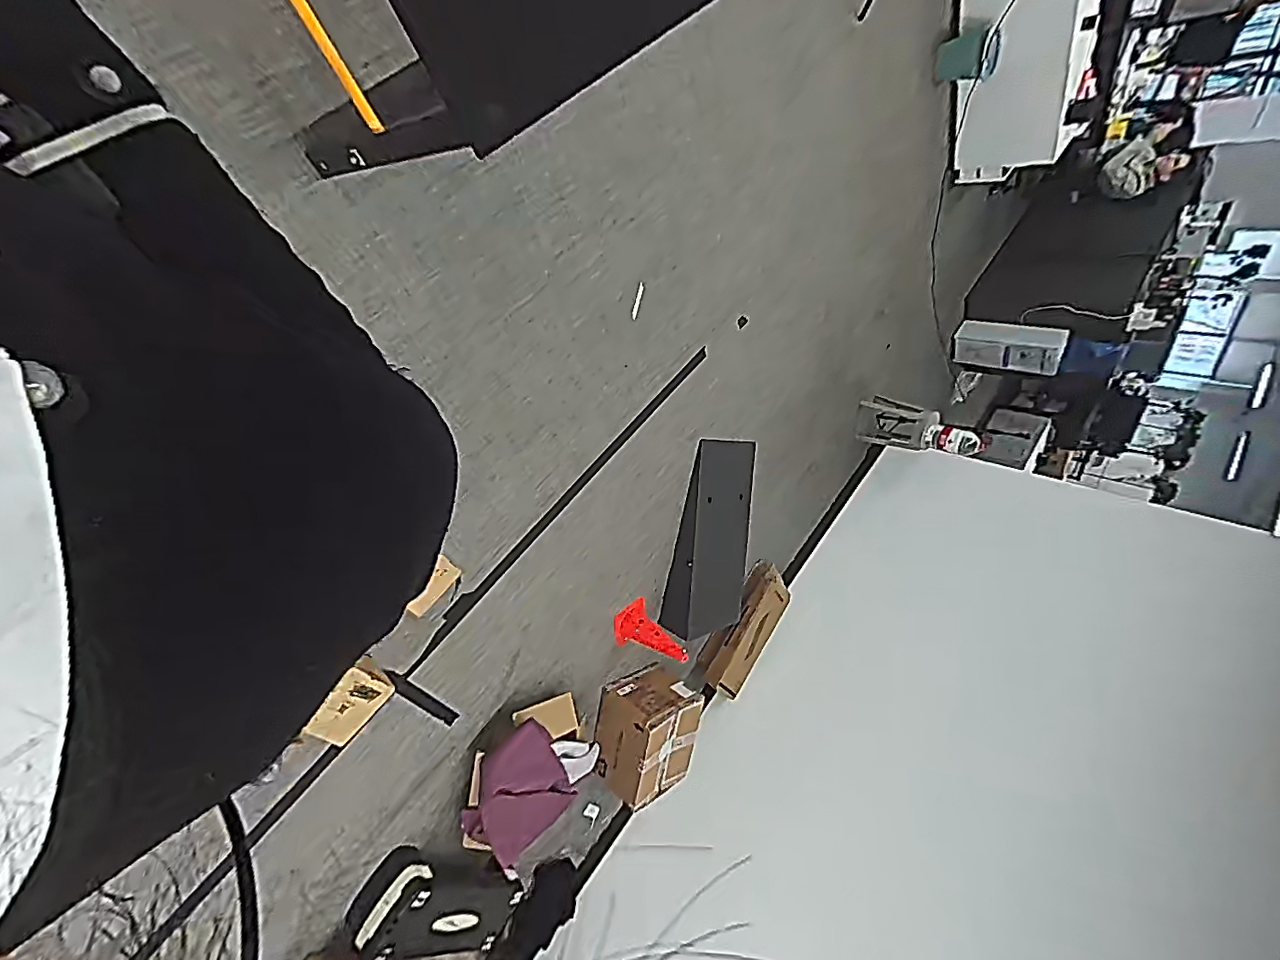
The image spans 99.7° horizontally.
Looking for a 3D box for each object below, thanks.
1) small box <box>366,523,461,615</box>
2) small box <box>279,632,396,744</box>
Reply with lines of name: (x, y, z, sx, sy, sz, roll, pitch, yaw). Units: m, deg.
small box: (-0.676, 0.260, 1.598, 0.179, 0.176, 0.168, -50, 137, -19)
small box: (-0.768, 0.519, 1.367, 0.179, 0.176, 0.168, -48, 136, -19)
